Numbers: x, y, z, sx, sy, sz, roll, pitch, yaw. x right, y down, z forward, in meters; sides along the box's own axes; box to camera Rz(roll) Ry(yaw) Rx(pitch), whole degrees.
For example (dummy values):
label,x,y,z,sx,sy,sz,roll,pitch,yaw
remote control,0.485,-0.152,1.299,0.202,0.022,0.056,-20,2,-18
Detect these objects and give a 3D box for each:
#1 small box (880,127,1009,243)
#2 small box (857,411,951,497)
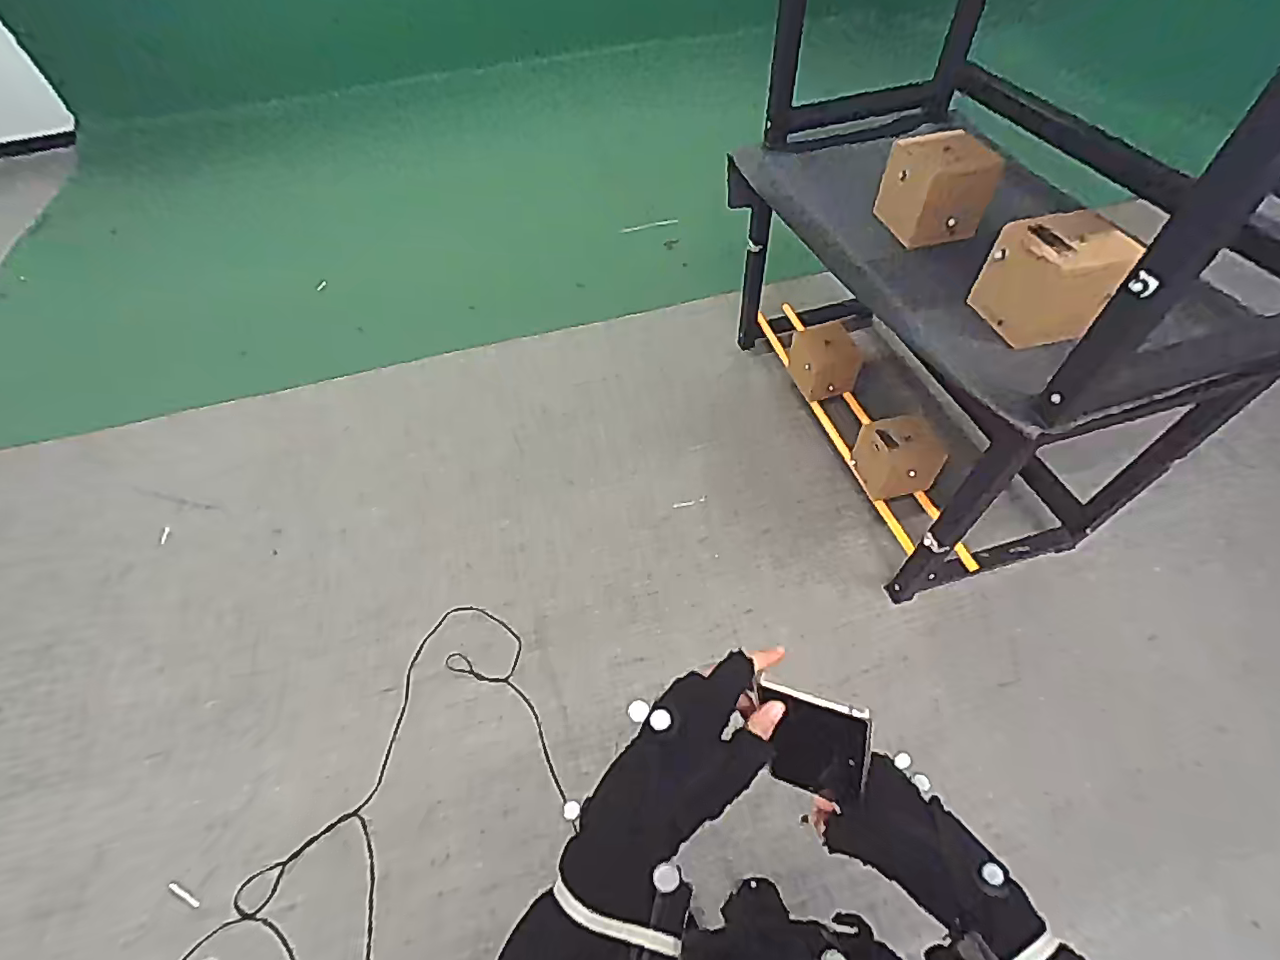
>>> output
label,x,y,z,sx,sy,sz,roll,pitch,yaw
small box,0.677,-0.668,1.230,0.168,0.176,0.179,-12,54,-4
small box,0.748,-0.070,1.561,0.179,0.176,0.168,-12,54,-4
